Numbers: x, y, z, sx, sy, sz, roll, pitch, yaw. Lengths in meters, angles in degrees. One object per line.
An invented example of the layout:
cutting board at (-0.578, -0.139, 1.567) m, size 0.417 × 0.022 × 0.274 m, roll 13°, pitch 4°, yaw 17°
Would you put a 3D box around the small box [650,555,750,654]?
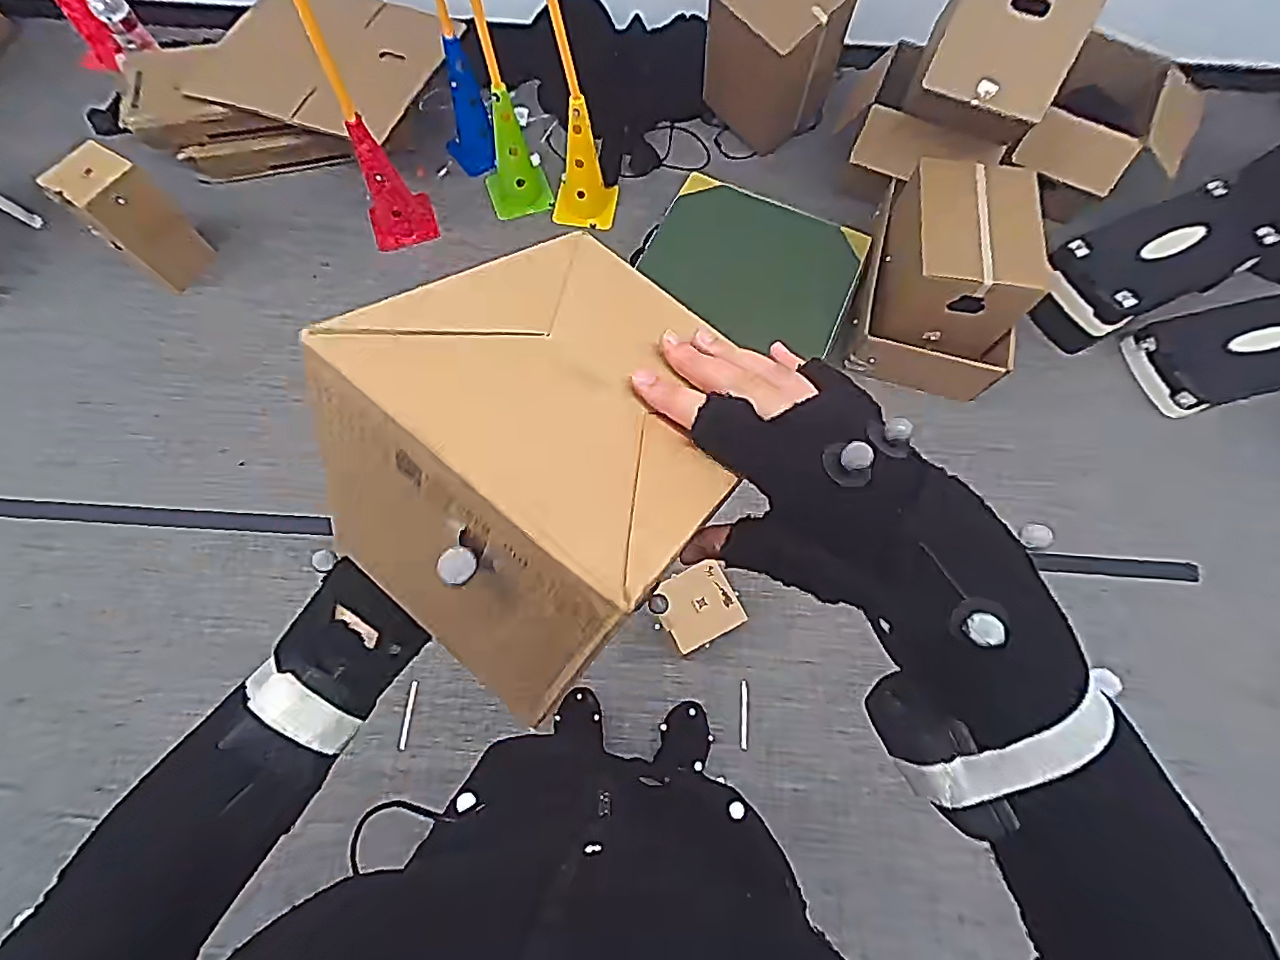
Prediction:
small box at (0.137, 0.307, 1.309) m, size 0.179 × 0.176 × 0.168 m, roll -27°, pitch 73°, yaw -11°
